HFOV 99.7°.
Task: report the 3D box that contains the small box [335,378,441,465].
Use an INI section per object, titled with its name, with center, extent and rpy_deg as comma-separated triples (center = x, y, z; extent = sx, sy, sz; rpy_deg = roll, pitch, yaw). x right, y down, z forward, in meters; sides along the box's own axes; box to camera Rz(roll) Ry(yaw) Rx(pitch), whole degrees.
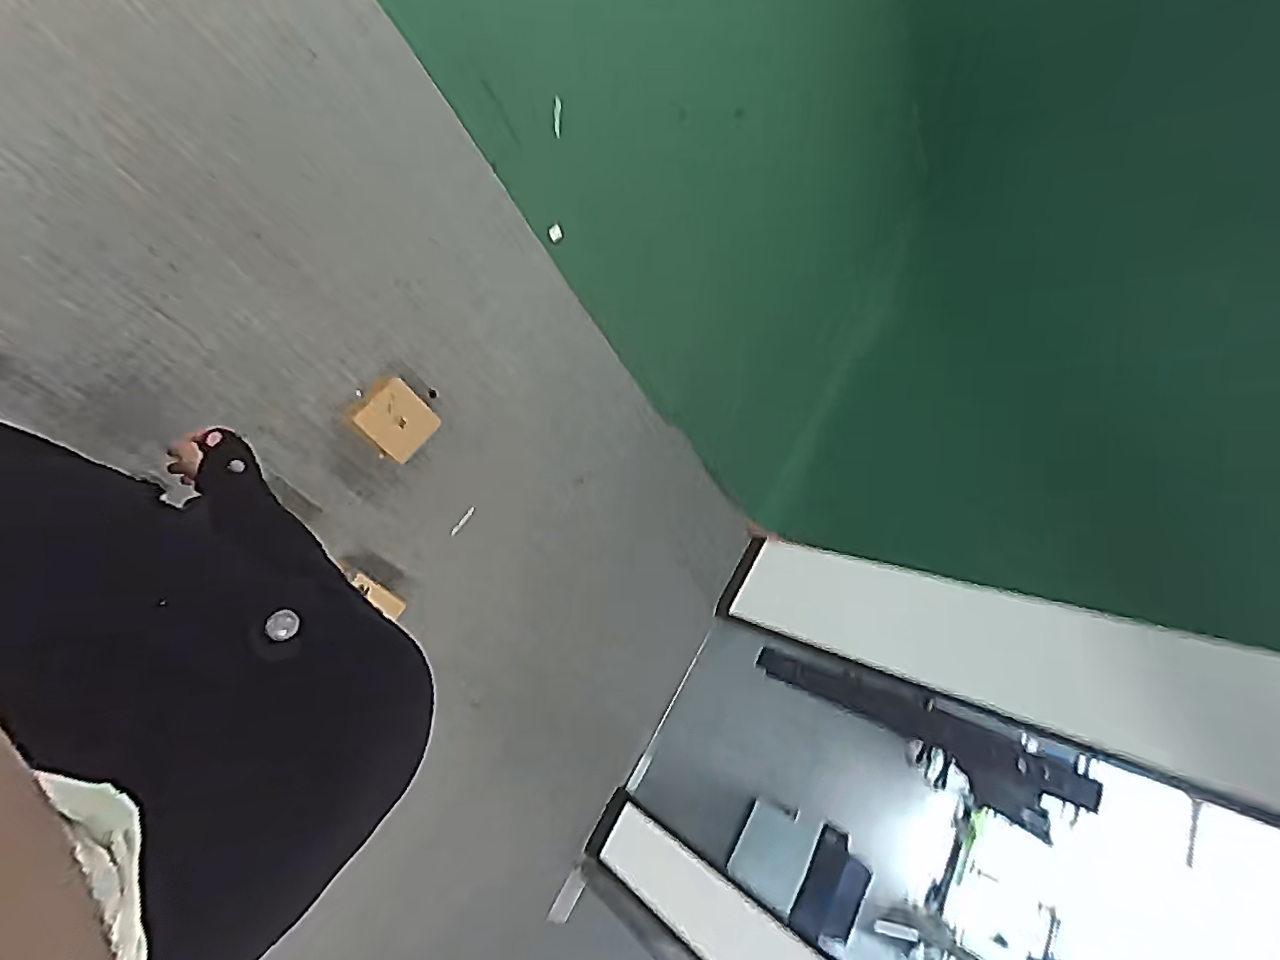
[small box]
center = -0.694, -0.165, 1.485
extent = 0.168, 0.176, 0.179
rpy_deg = -54, 129, -23
